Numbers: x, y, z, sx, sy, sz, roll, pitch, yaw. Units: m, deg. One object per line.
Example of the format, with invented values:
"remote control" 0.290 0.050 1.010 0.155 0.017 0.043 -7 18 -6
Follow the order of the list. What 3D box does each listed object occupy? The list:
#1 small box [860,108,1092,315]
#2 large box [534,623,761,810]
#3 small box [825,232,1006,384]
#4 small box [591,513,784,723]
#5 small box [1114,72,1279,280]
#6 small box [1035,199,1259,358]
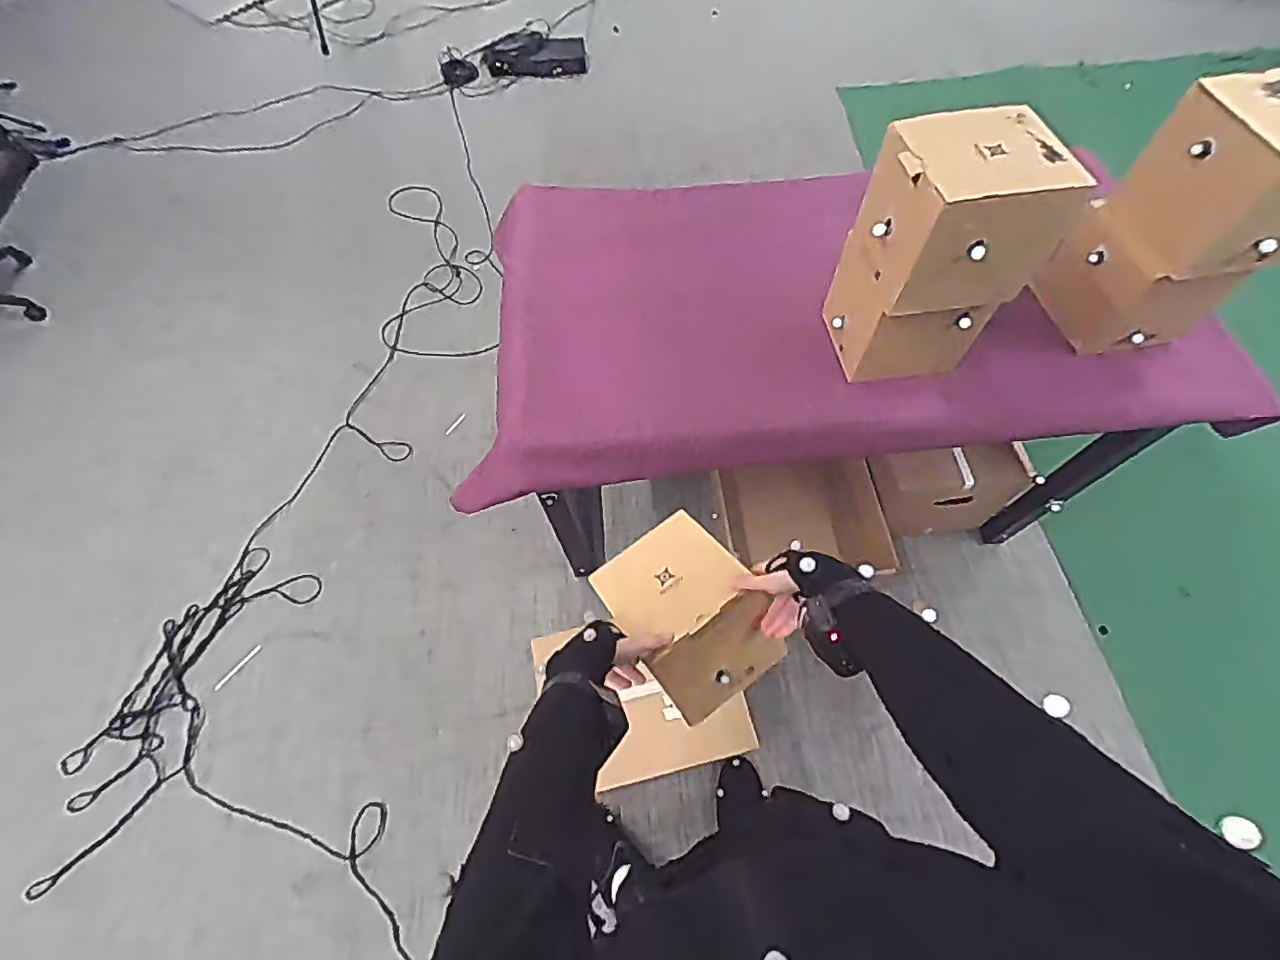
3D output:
"small box" 0.400 -0.333 0.690 0.179 0.176 0.168 -8 61 -1
"large box" 0.008 0.504 1.205 0.408 0.320 0.320 -13 61 -5
"small box" 0.412 -0.270 0.843 0.179 0.176 0.168 -7 60 0
"small box" 0.064 0.183 0.725 0.168 0.176 0.179 -35 39 -9
"small box" 0.783 -0.390 0.699 0.168 0.176 0.179 -9 61 0
"small box" 0.775 -0.319 0.848 0.168 0.176 0.179 -9 60 0
